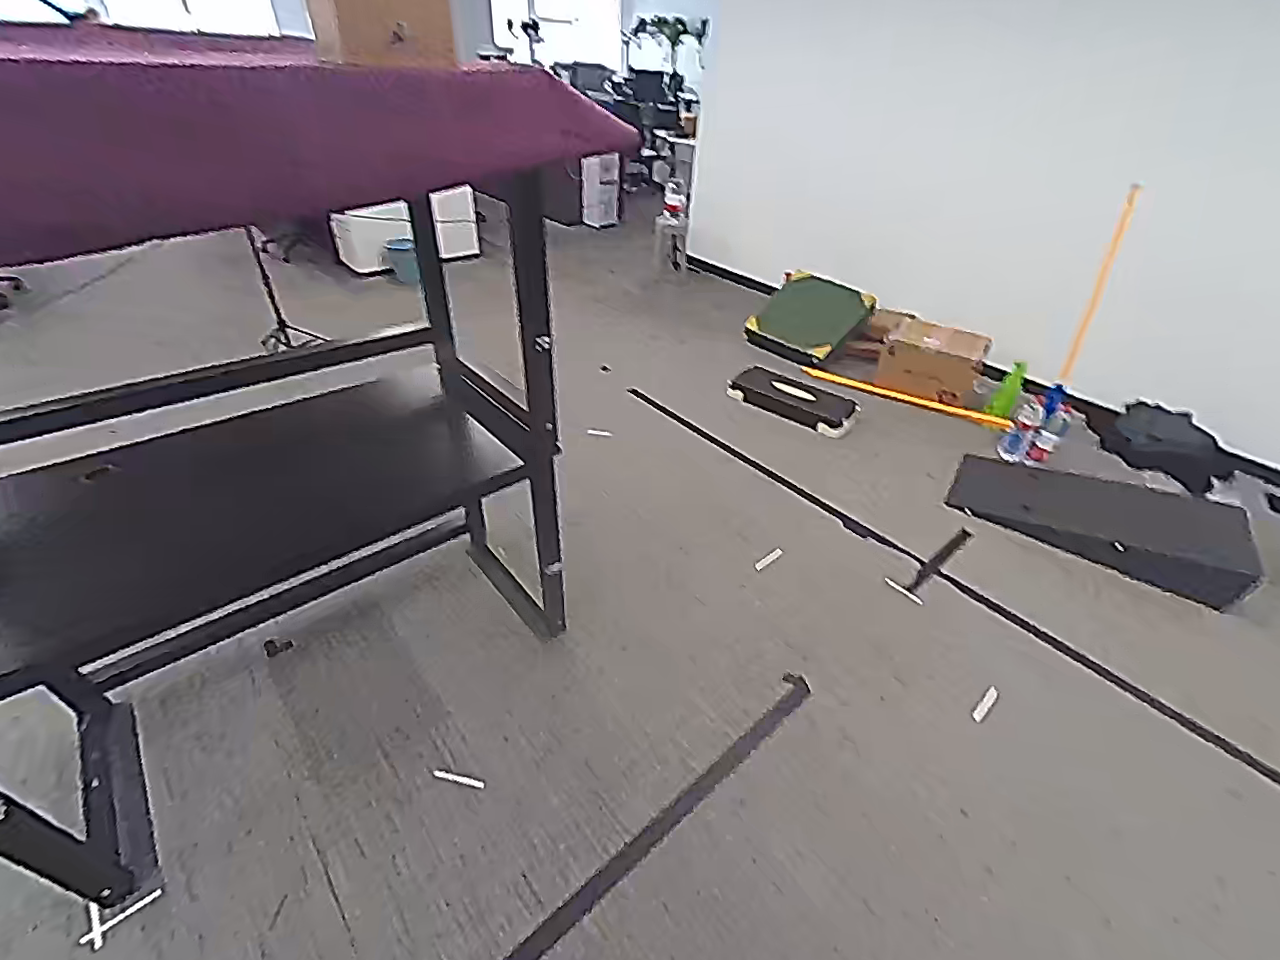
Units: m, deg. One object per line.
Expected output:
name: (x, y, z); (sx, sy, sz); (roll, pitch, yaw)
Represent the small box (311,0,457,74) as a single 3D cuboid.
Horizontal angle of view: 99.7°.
small box: (-0.395, -0.731, 0.827); (0.179, 0.176, 0.168); (-24, 44, -31)
